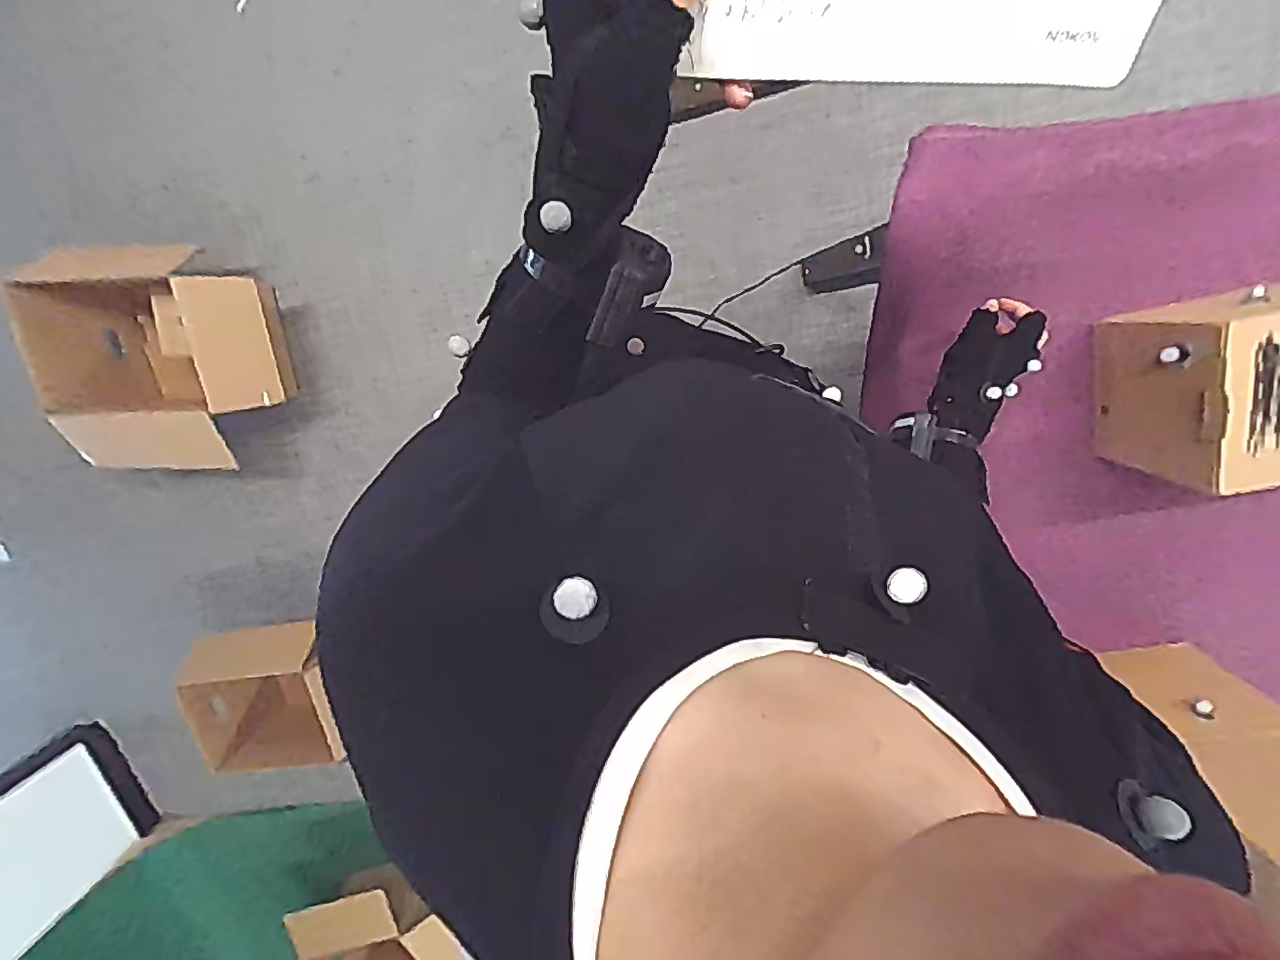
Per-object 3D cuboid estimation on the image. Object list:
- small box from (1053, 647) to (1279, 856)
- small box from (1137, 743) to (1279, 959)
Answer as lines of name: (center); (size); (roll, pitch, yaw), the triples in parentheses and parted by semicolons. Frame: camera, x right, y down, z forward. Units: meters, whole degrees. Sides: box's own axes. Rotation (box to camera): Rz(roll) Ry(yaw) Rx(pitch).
small box: (0.668, 0.338, 0.693); (0.179, 0.176, 0.168); (-11, 105, 8)
small box: (0.660, 0.386, 0.535); (0.179, 0.176, 0.168); (-7, 105, 8)
